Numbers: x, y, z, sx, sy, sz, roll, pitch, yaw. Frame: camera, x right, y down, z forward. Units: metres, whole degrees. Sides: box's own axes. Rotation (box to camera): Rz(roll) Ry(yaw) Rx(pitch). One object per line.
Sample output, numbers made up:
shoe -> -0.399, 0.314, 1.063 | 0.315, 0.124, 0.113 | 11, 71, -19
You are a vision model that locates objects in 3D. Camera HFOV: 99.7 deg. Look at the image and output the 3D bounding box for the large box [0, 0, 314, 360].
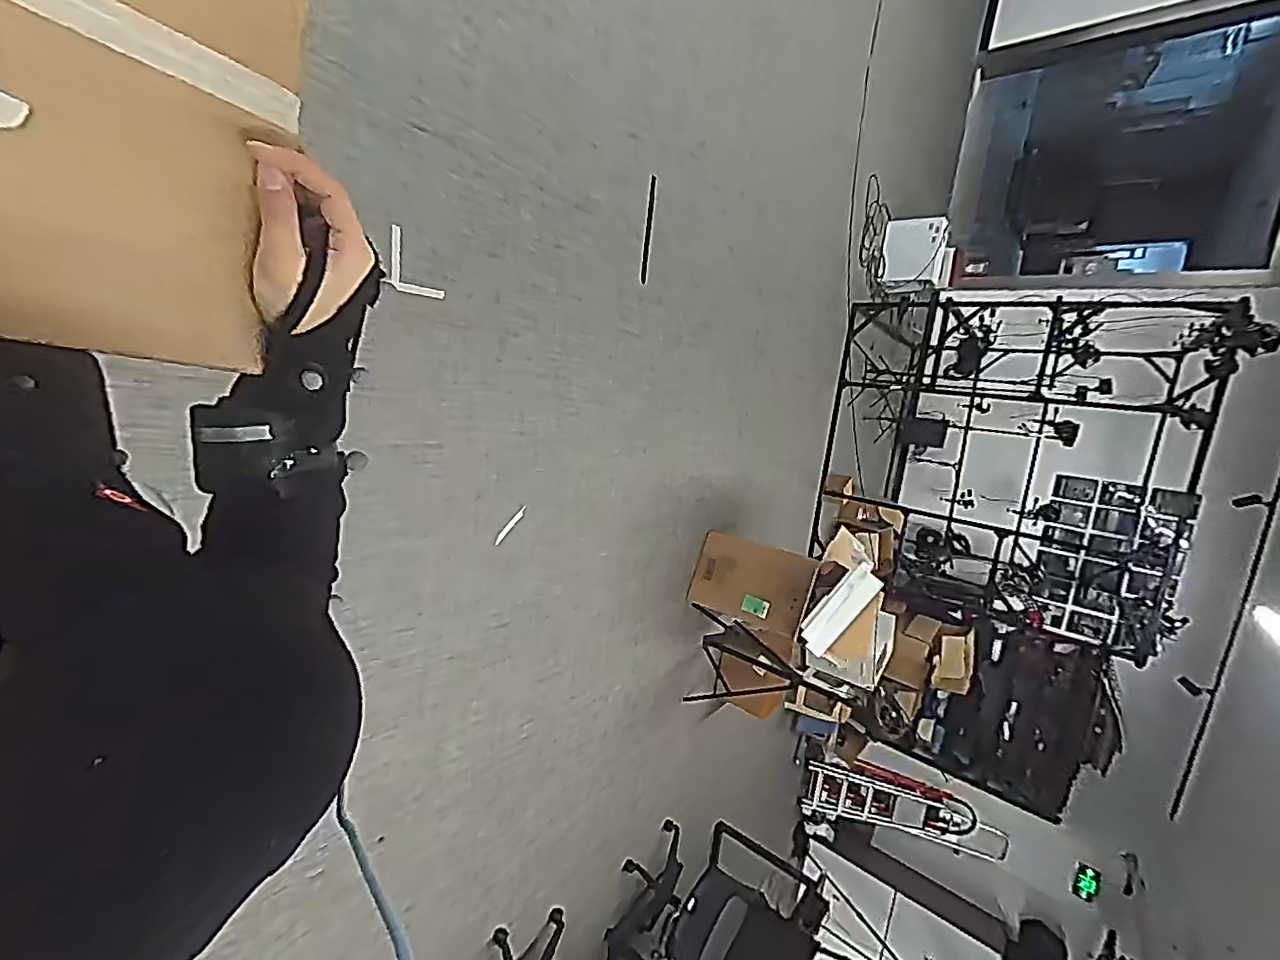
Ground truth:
large box -> -0.446, -0.264, 0.266 | 0.408, 0.320, 0.320 | 0, 107, -53
